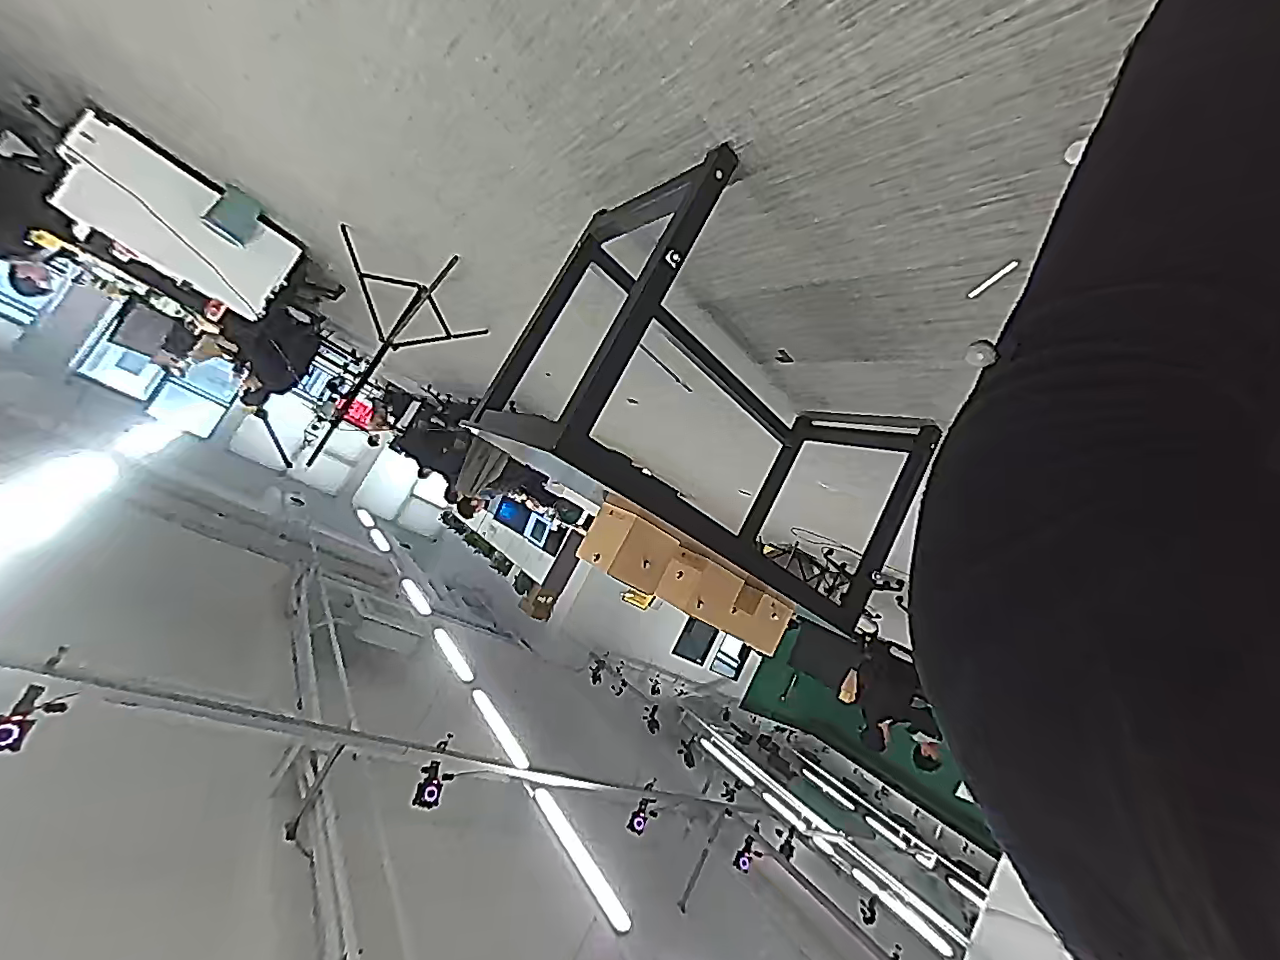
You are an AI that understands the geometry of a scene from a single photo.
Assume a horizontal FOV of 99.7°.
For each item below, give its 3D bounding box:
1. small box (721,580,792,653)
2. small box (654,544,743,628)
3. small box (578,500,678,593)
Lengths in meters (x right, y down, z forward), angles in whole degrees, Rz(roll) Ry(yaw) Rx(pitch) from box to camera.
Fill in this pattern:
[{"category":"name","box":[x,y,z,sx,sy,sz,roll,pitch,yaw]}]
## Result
[{"category":"small box","box":[0.360,0.433,1.766,0.168,0.176,0.179,33,170,-32]},{"category":"small box","box":[0.174,0.311,1.618,0.179,0.176,0.168,34,171,-34]},{"category":"small box","box":[-0.029,0.176,1.456,0.179,0.176,0.168,33,171,-36]}]
